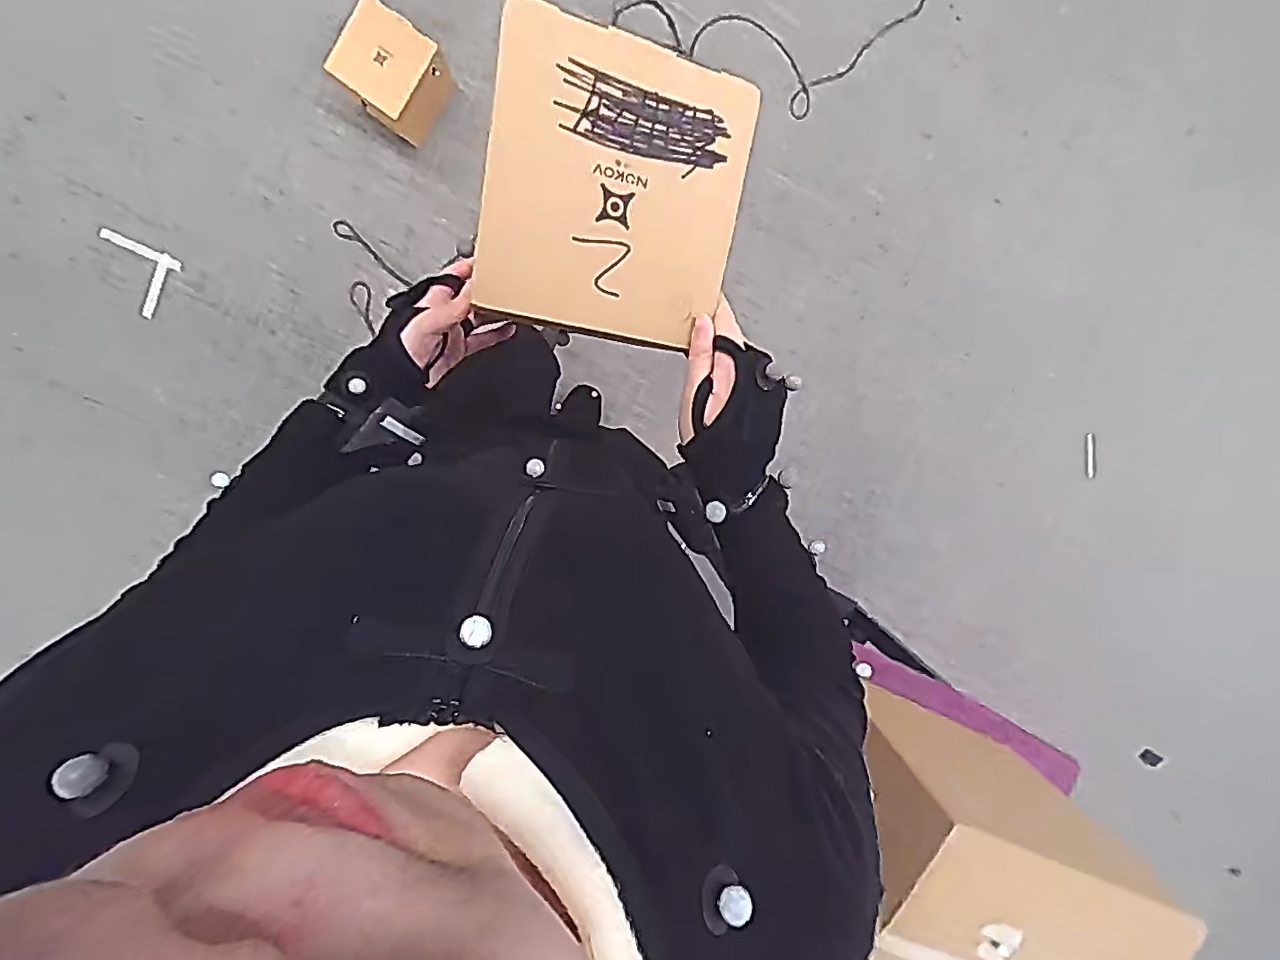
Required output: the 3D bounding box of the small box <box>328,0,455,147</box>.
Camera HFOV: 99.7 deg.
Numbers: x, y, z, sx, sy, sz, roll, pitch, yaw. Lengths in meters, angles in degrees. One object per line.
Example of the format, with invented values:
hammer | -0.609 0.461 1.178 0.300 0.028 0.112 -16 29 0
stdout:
small box | -0.529 -0.876 1.180 0.168 0.176 0.179 33 97 -11
